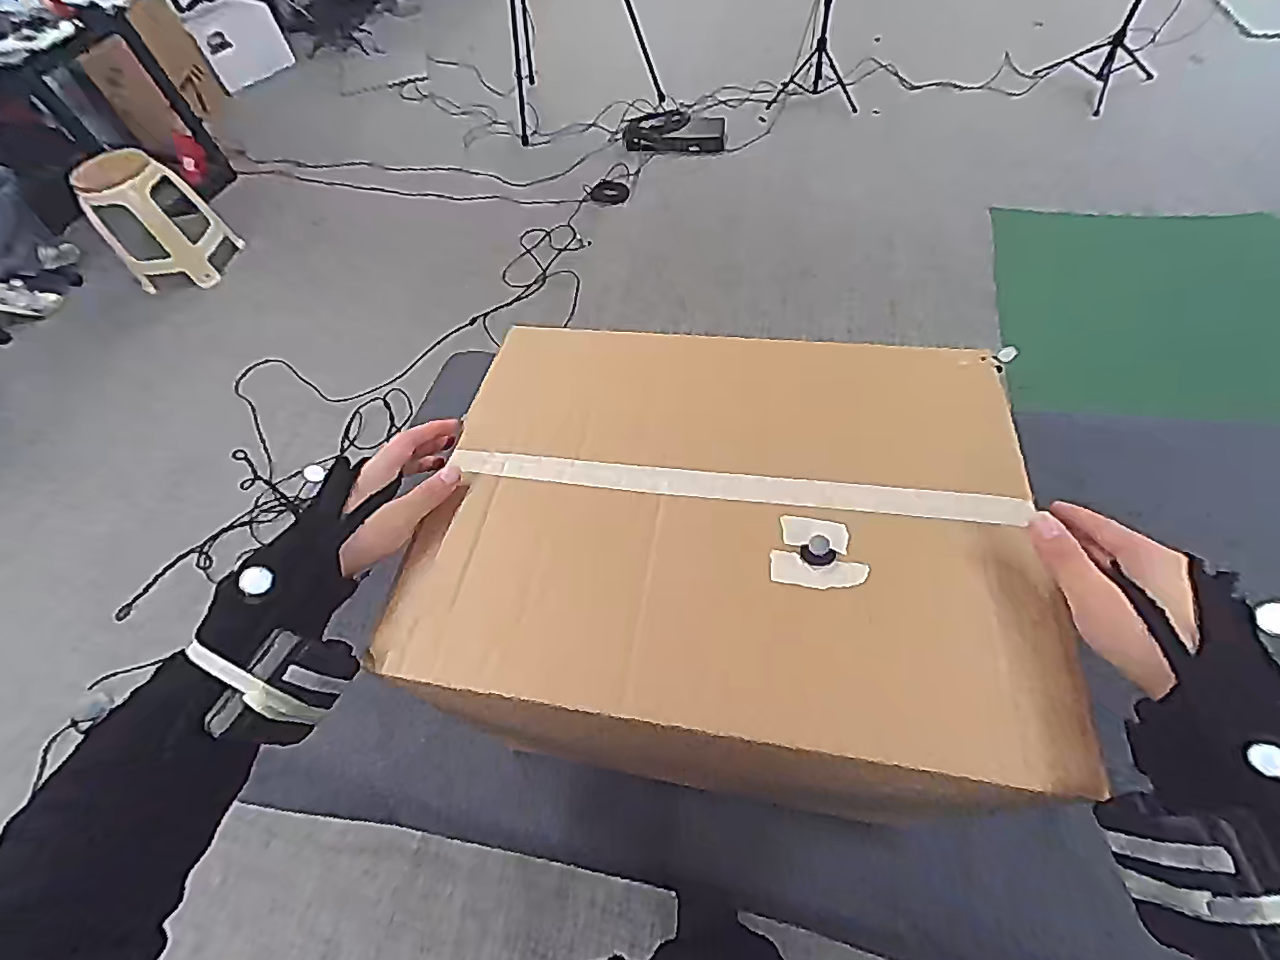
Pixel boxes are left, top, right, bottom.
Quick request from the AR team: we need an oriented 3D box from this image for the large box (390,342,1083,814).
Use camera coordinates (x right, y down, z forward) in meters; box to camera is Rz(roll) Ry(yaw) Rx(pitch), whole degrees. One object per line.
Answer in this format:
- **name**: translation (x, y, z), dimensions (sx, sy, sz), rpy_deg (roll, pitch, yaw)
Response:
- **large box**: translation (0.069, 0.097, 0.512), dimensions (0.408, 0.320, 0.320), rpy_deg (6, 57, 9)
